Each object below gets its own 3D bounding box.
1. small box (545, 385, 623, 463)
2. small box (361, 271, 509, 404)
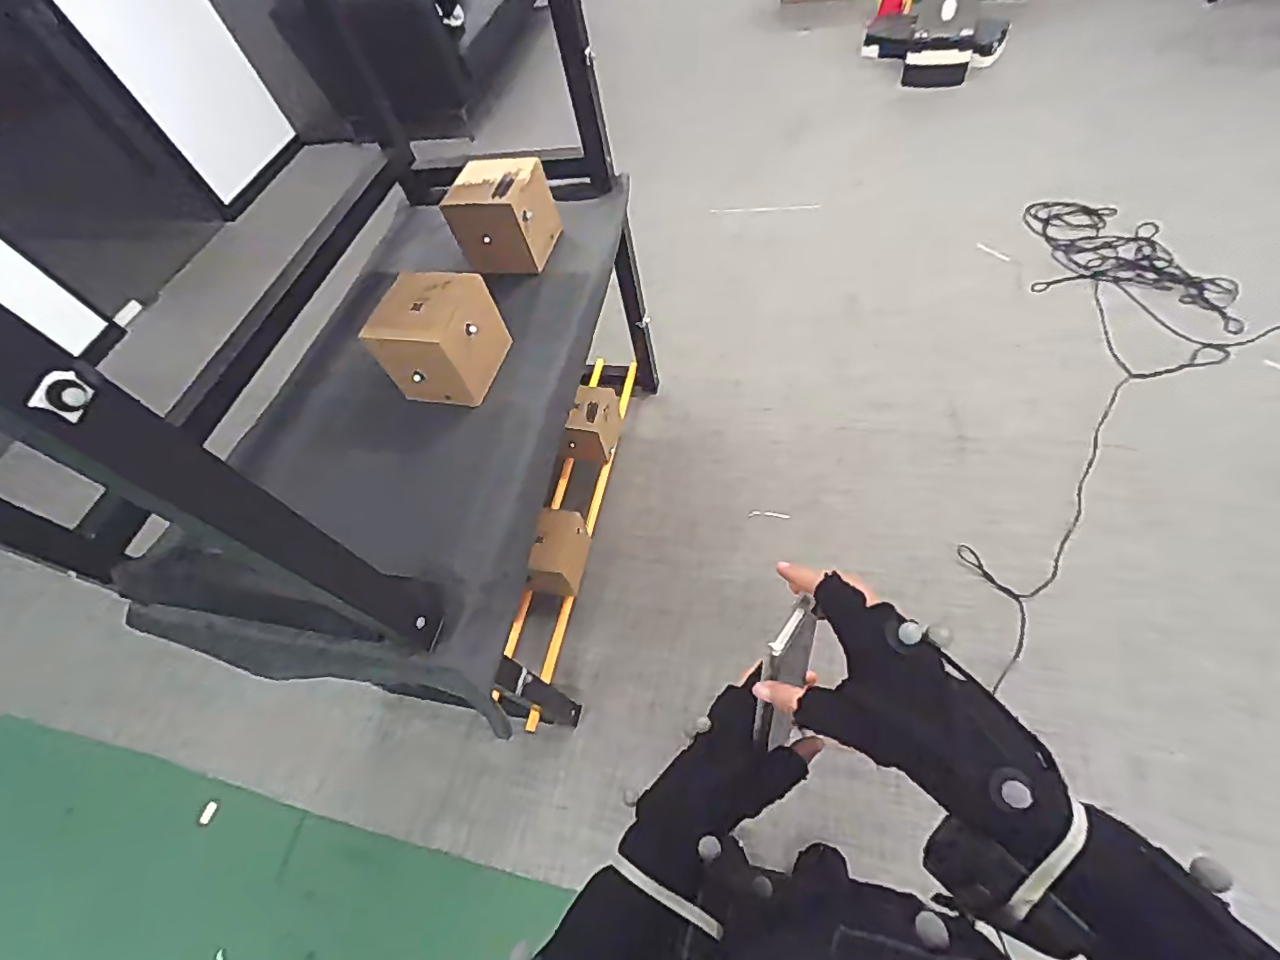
[{"bbox_3d":[-0.164,-0.167,1.655,0.179,0.176,0.168,8,59,15],"label":"small box"},{"bbox_3d":[-0.366,-0.262,1.006,0.168,0.176,0.179,8,60,15],"label":"small box"}]
